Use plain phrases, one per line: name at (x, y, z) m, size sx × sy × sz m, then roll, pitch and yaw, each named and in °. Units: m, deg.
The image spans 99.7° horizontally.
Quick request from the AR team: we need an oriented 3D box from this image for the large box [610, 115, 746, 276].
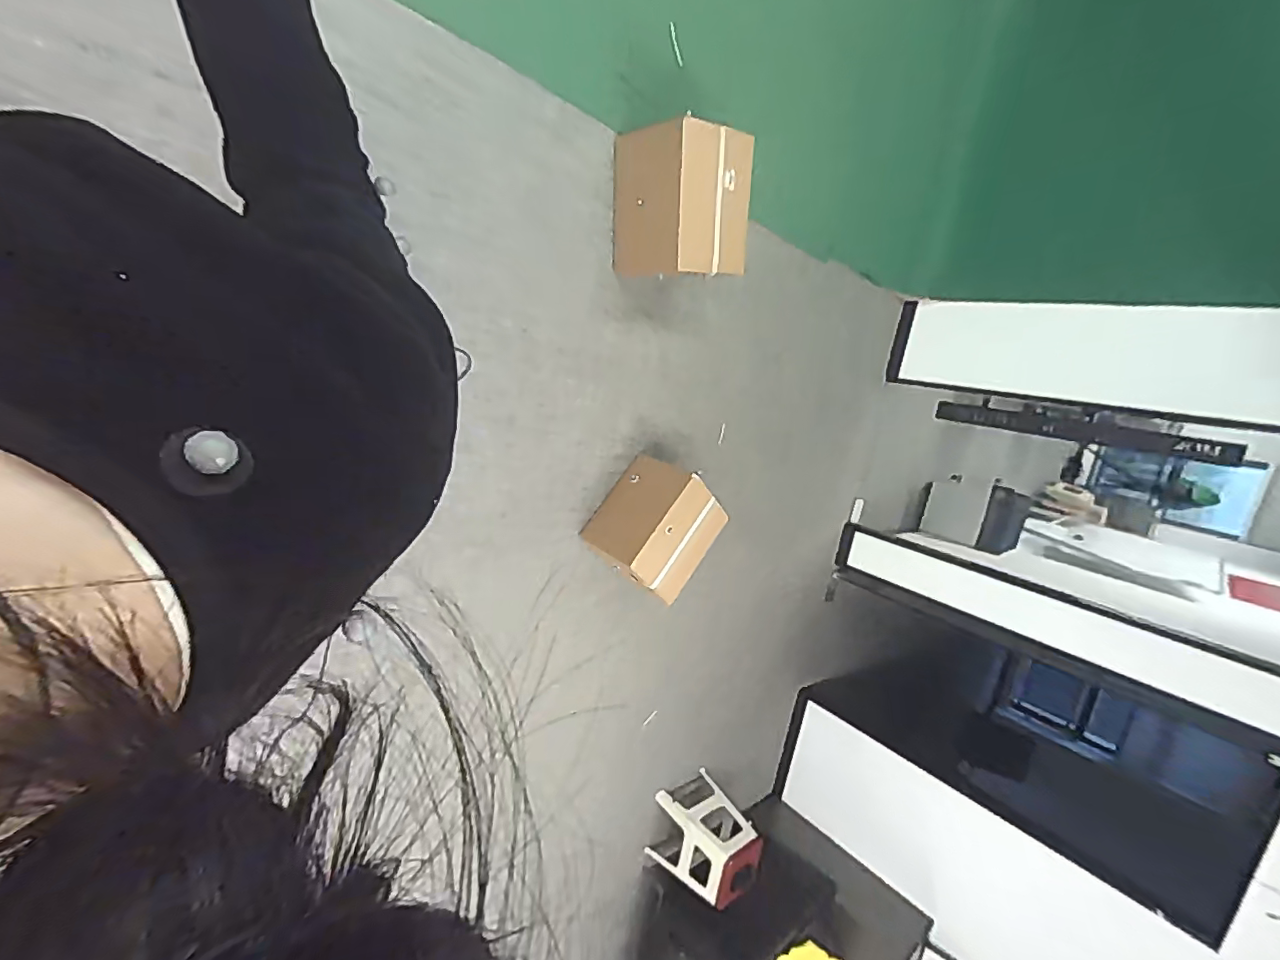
large box at (0.116, -0.872, 1.730) m, size 0.320 × 0.320 × 0.408 m, roll -16°, pitch 114°, yaw -40°
